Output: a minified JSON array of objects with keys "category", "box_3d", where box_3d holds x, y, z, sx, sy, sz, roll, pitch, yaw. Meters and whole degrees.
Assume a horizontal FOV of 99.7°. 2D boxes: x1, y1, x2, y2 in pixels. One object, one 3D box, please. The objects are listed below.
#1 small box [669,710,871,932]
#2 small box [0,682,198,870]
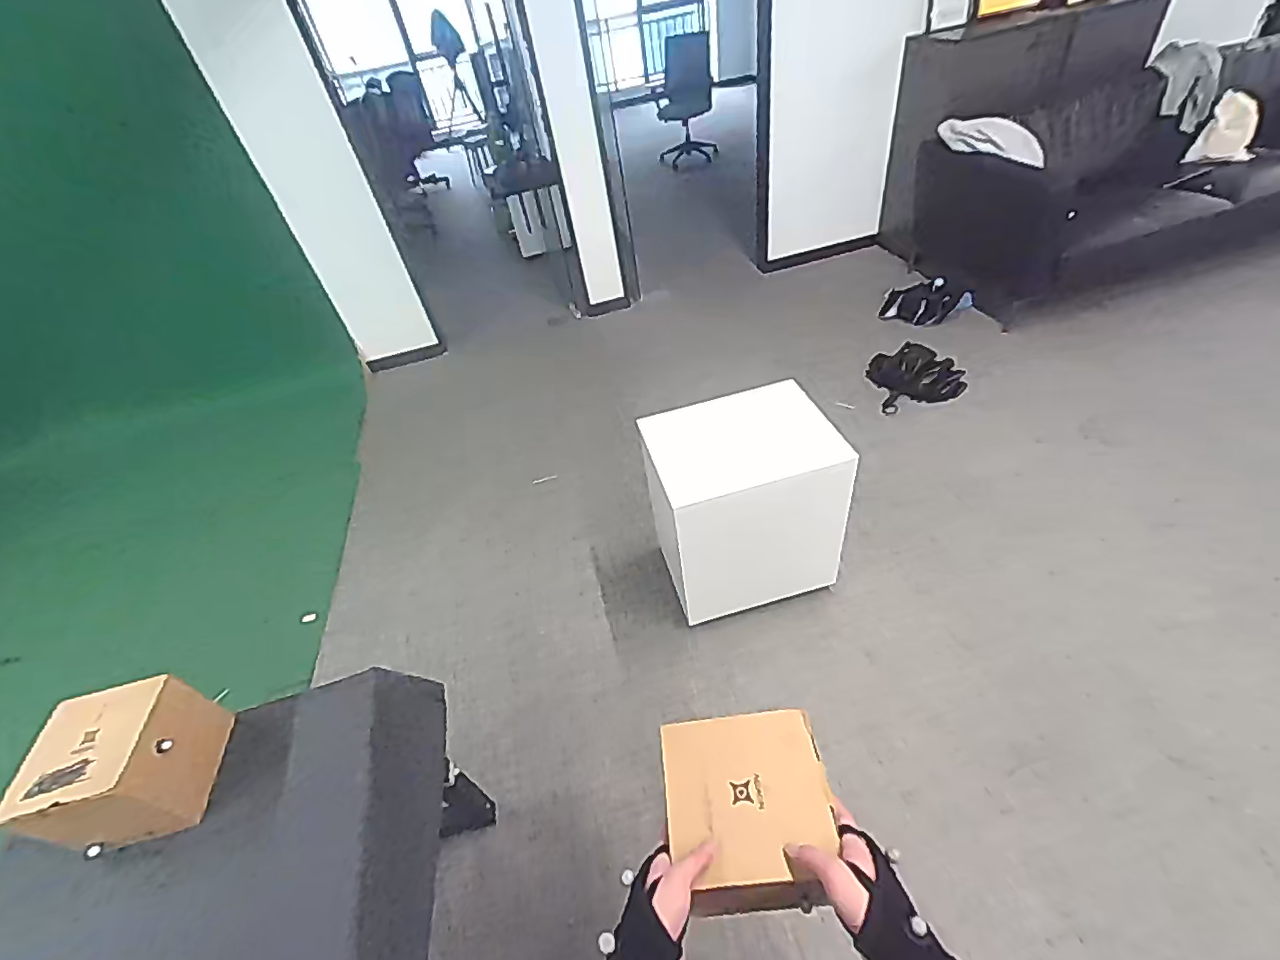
[{"category":"small box","box_3d":[0.135,0.388,0.615,0.179,0.176,0.168,-10,41,2]},{"category":"small box","box_3d":[-0.789,0.427,0.773,0.168,0.176,0.179,-13,42,-6]}]
